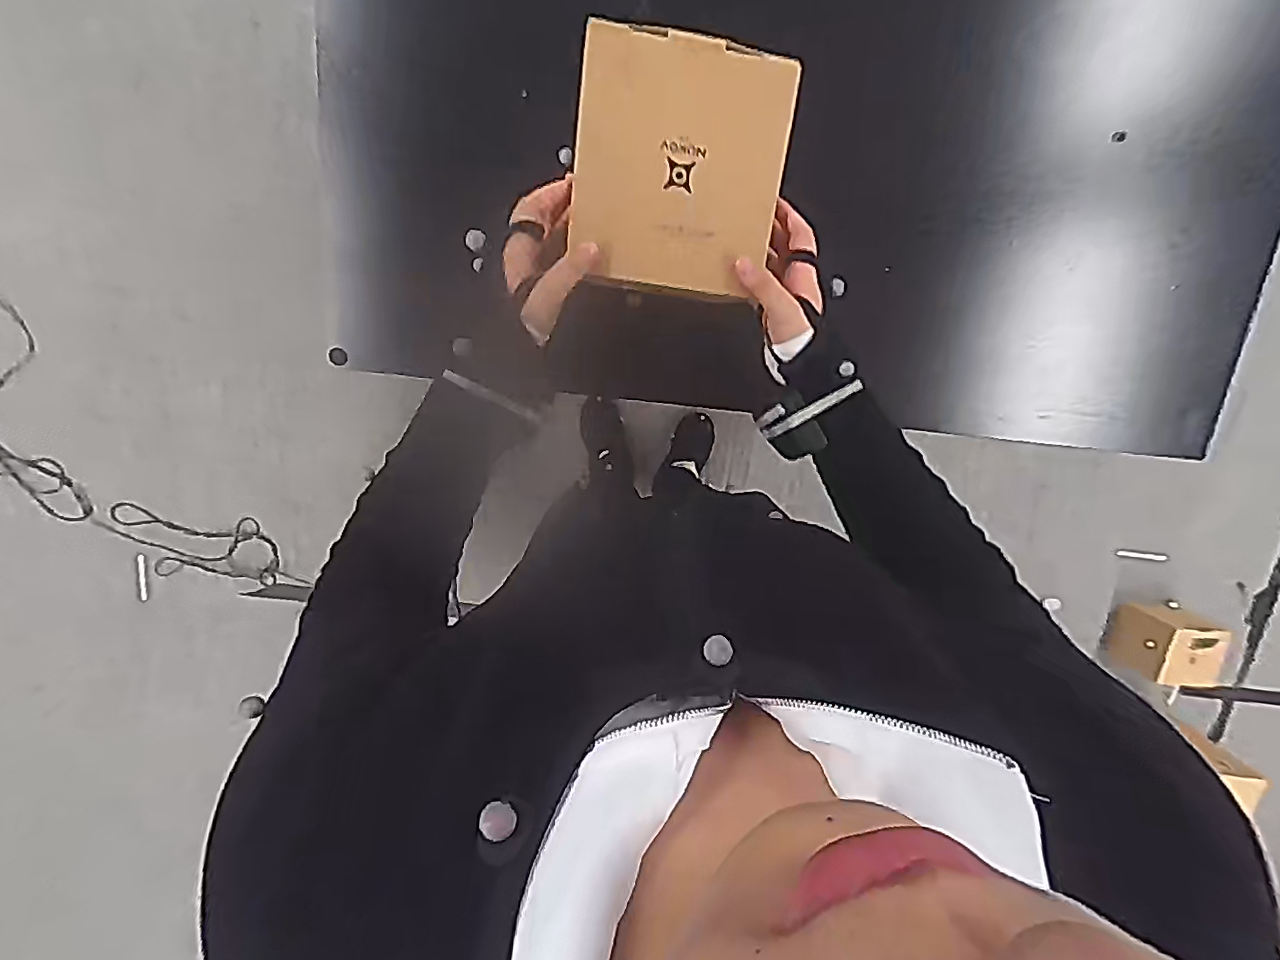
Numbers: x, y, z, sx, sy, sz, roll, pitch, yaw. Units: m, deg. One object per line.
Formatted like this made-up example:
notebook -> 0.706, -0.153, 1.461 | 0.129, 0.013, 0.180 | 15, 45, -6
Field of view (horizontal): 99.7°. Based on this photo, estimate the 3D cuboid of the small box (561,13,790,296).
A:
small box -> 0.018, -0.274, 0.502 | 0.168, 0.176, 0.179 | 5, 107, -7

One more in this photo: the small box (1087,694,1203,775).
small box -> 1.528, 0.778, 1.649 | 0.179, 0.176, 0.168 | 6, 103, -2

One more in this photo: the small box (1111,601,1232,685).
small box -> 1.529, 0.466, 1.570 | 0.168, 0.176, 0.179 | 4, 104, -2

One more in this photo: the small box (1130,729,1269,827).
small box -> 1.526, 0.813, 1.486 | 0.179, 0.176, 0.168 | 8, 103, -3
